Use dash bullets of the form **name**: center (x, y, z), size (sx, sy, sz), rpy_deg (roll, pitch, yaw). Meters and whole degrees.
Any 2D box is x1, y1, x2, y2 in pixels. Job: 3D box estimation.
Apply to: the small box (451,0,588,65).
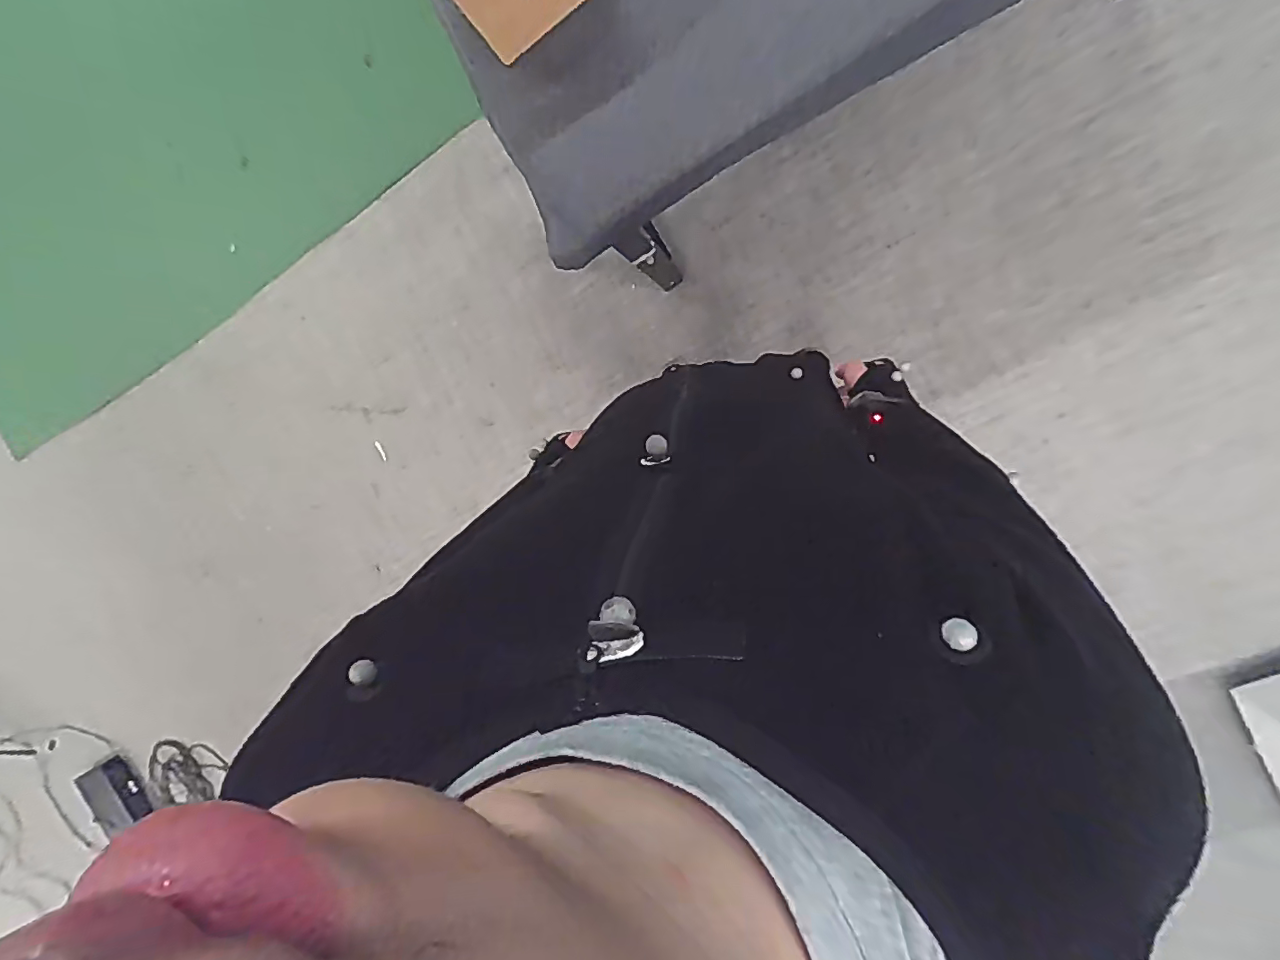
- **small box**: center (-0.162, -0.651, 0.631), size (0.179, 0.176, 0.168), rpy_deg (-29, 95, 16)
